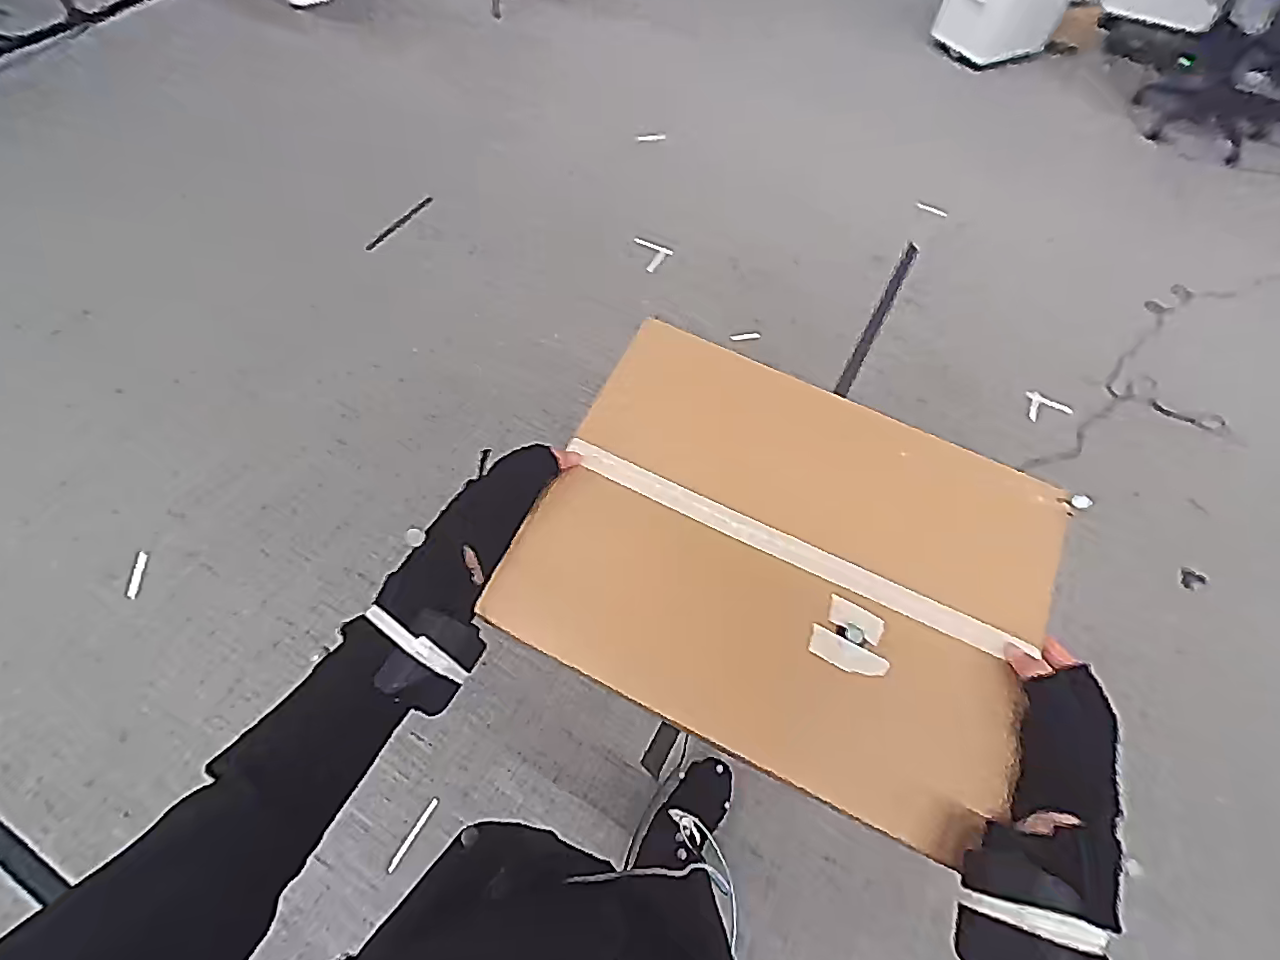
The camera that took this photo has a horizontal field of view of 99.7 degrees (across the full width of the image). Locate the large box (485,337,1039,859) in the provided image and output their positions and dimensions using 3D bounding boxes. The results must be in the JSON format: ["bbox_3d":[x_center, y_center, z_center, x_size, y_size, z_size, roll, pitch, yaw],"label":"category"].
[{"bbox_3d":[0.109,0.117,0.592,0.408,0.320,0.320,25,70,7],"label":"large box"}]
